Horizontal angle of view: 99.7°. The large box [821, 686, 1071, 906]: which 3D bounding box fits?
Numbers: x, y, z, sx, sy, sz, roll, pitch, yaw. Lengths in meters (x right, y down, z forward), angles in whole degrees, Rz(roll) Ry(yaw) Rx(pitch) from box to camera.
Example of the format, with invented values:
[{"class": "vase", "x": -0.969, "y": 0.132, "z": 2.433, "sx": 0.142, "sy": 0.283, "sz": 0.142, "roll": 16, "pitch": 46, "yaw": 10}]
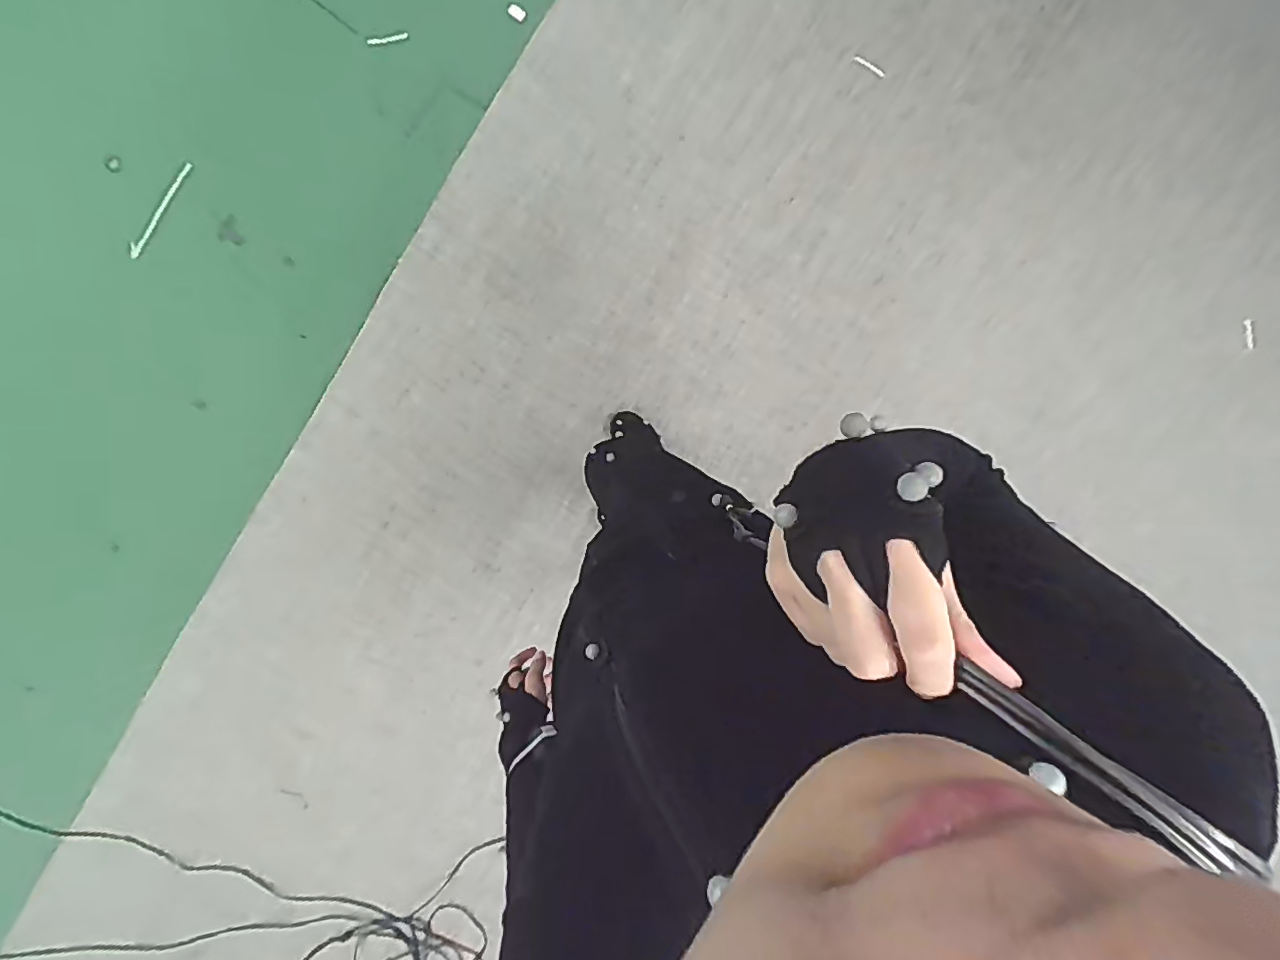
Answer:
[{"class": "large box", "x": 0.723, "y": 0.751, "z": 1.338, "sx": 0.408, "sy": 0.320, "sz": 0.320, "roll": 15, "pitch": 91, "yaw": -2}]
